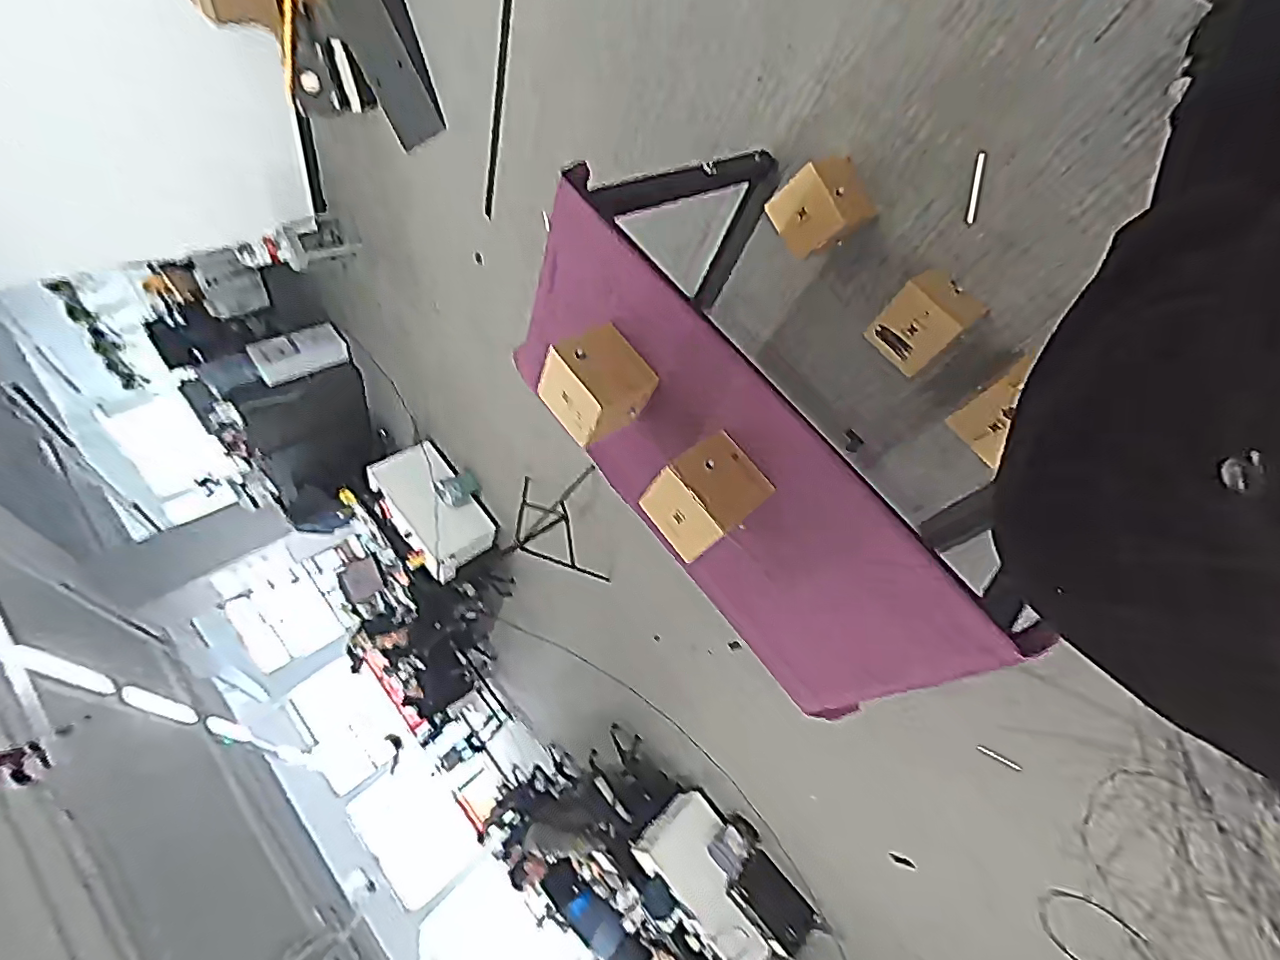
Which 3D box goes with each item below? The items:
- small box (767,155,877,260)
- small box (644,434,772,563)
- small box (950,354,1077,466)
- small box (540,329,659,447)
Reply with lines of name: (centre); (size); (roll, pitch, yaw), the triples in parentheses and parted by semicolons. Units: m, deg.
small box: (0.469, -0.705, 1.393); (0.179, 0.176, 0.168); (57, 147, -3)
small box: (0.141, 0.034, 1.103); (0.168, 0.176, 0.179); (51, 149, 11)
small box: (0.897, -0.170, 1.293); (0.168, 0.176, 0.179); (50, 148, 11)
small box: (-0.092, -0.209, 1.194); (0.179, 0.176, 0.168); (50, 147, 10)
